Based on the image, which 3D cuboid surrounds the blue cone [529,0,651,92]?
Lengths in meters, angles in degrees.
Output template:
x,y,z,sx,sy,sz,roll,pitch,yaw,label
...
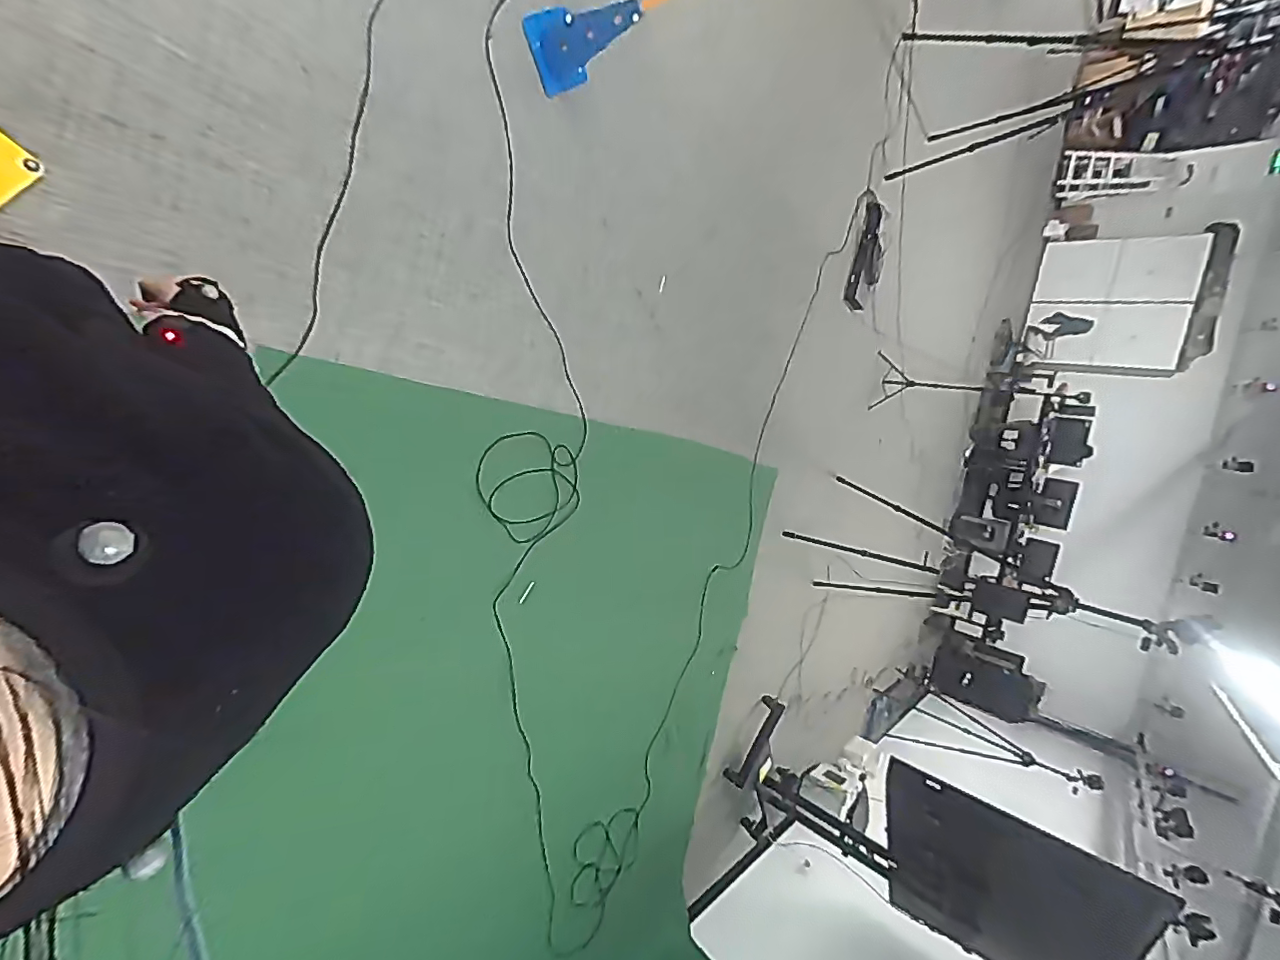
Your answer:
x,y,z,sx,sy,sz,roll,pitch,yaw,label
-0.124,-1.296,1.551,0.193,0.380,0.192,-49,132,-31,blue cone
